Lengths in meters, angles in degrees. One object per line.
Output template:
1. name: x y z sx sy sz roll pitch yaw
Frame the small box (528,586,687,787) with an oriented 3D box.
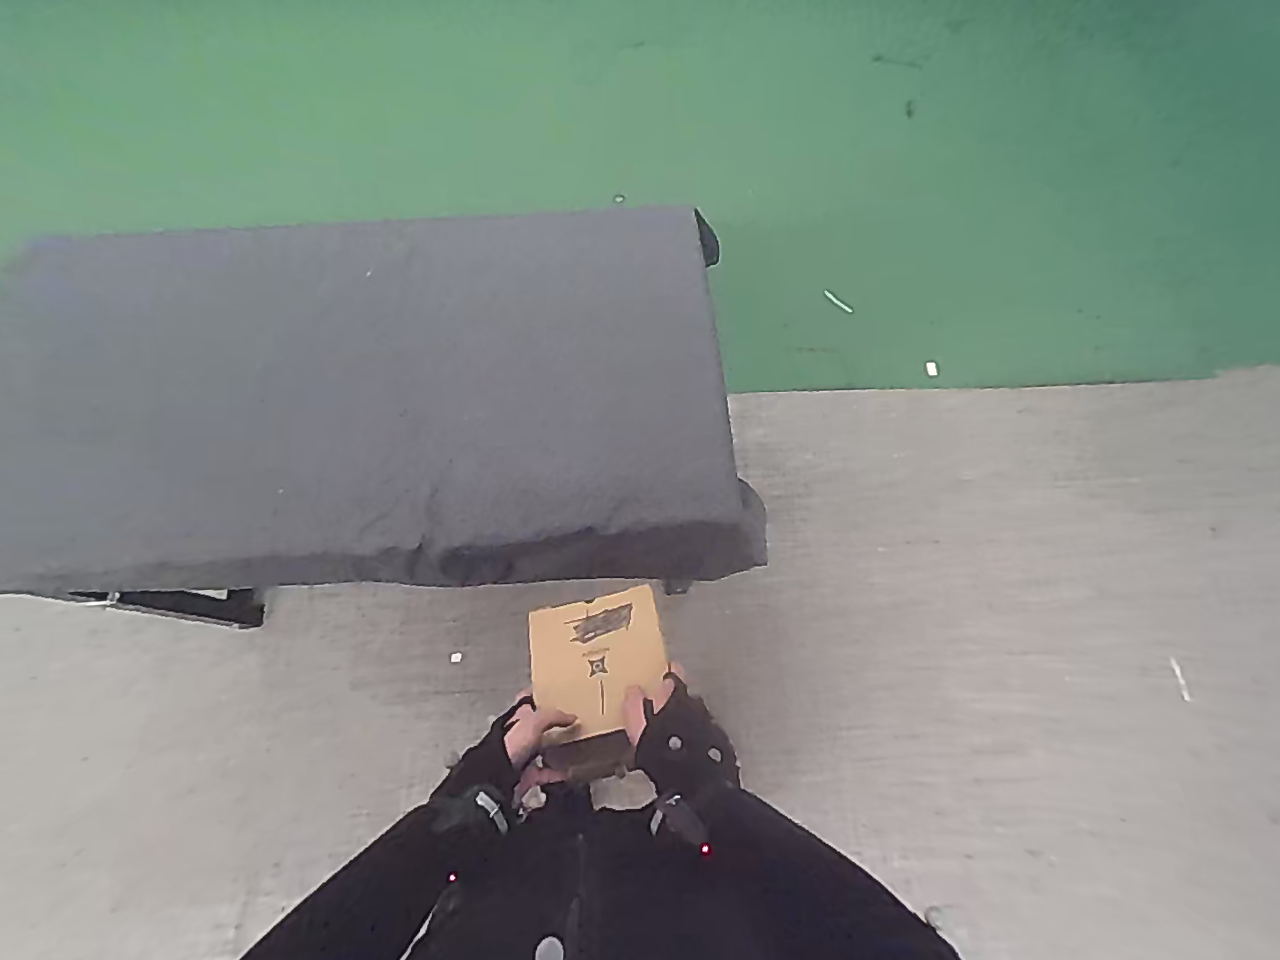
1. small box: -0.041 0.270 0.705 0.168 0.176 0.179 -14 47 0
